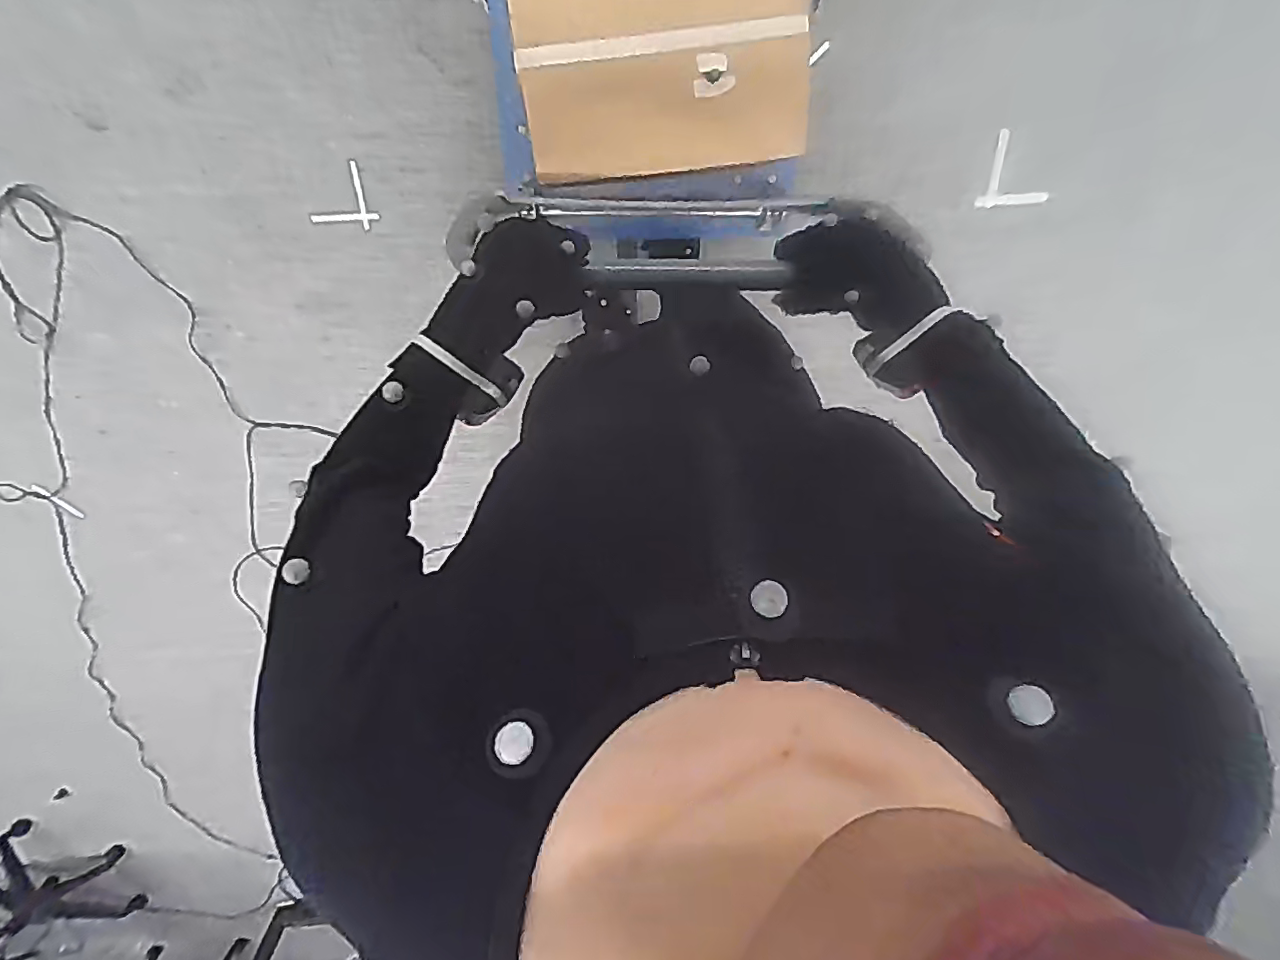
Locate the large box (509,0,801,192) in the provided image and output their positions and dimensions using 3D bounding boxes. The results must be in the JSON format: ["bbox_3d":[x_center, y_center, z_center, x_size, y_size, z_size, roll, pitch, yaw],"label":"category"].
[{"bbox_3d":[0.017,-0.679,0.891,0.408,0.320,0.320,-7,117,-1],"label":"large box"}]
